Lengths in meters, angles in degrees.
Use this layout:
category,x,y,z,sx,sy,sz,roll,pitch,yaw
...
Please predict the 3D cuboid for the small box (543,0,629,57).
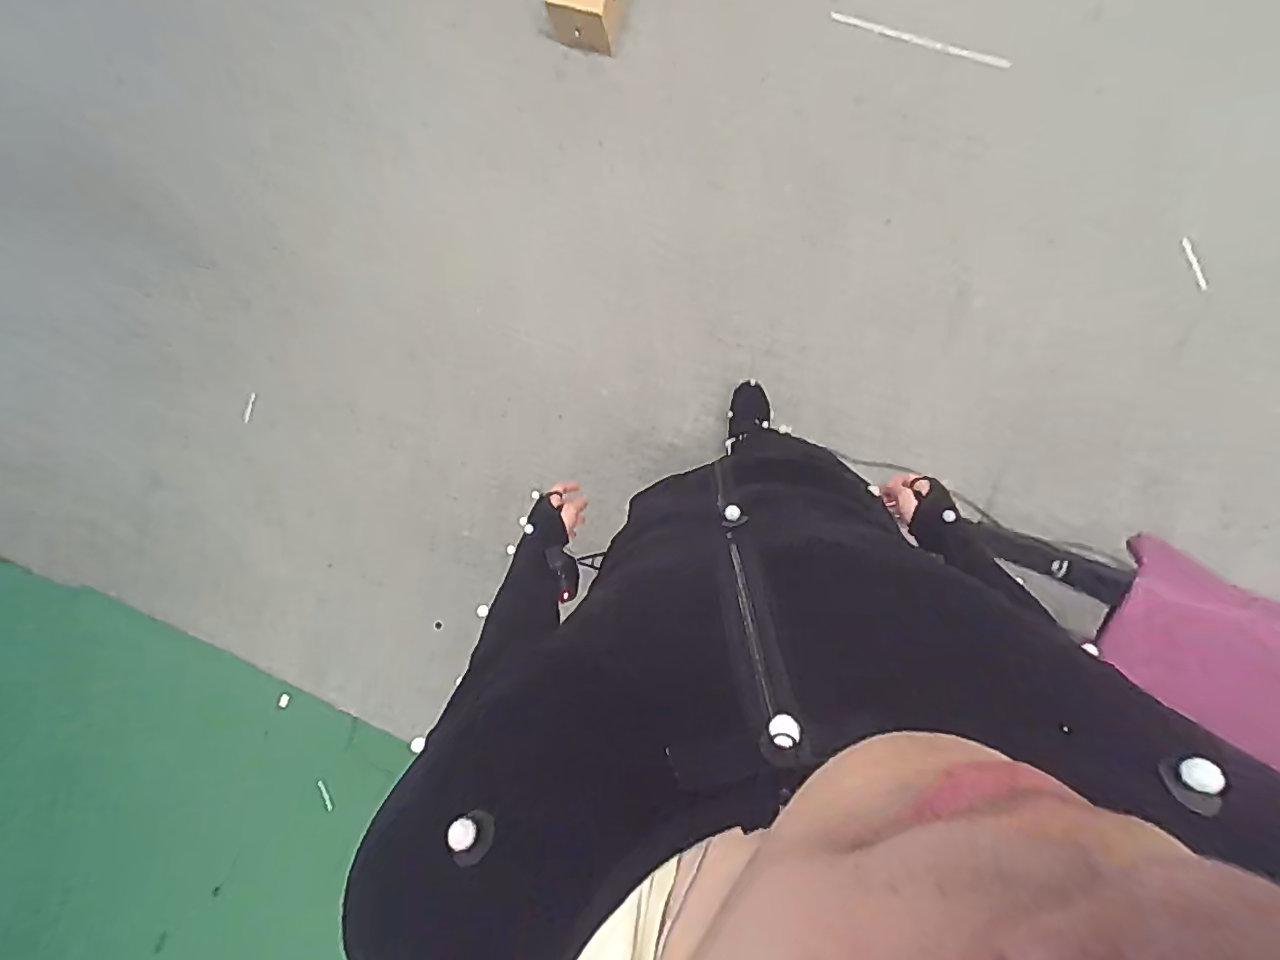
category,x,y,z,sx,sy,sz,roll,pitch,yaw
small box,-0.139,-1.296,1.458,0.168,0.176,0.179,18,98,6
